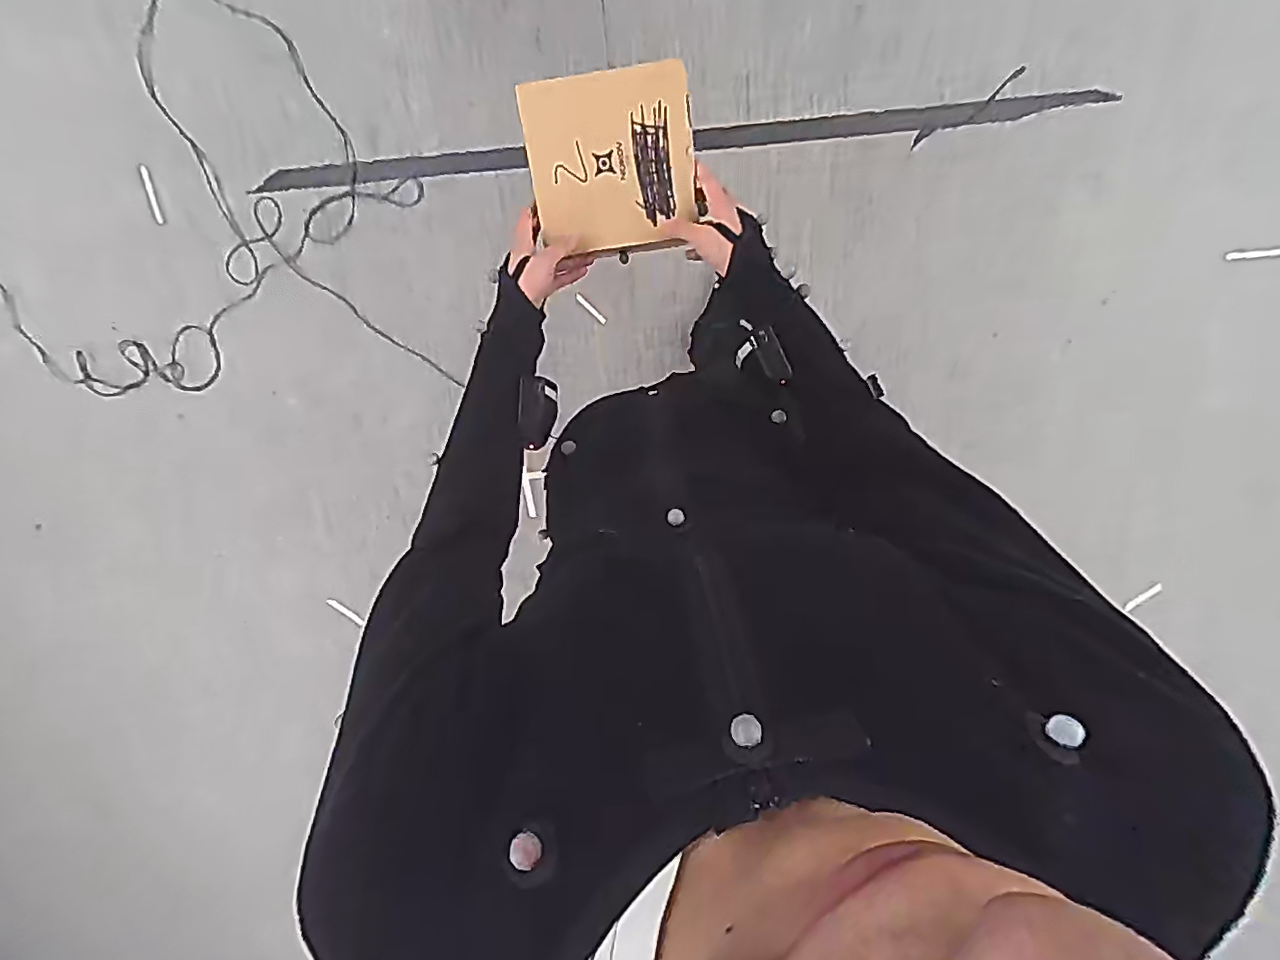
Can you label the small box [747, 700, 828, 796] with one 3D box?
[{"bbox_3d":[0.394,0.720,1.464,0.179,0.176,0.168,-4,108,2],"label":"small box"}]
